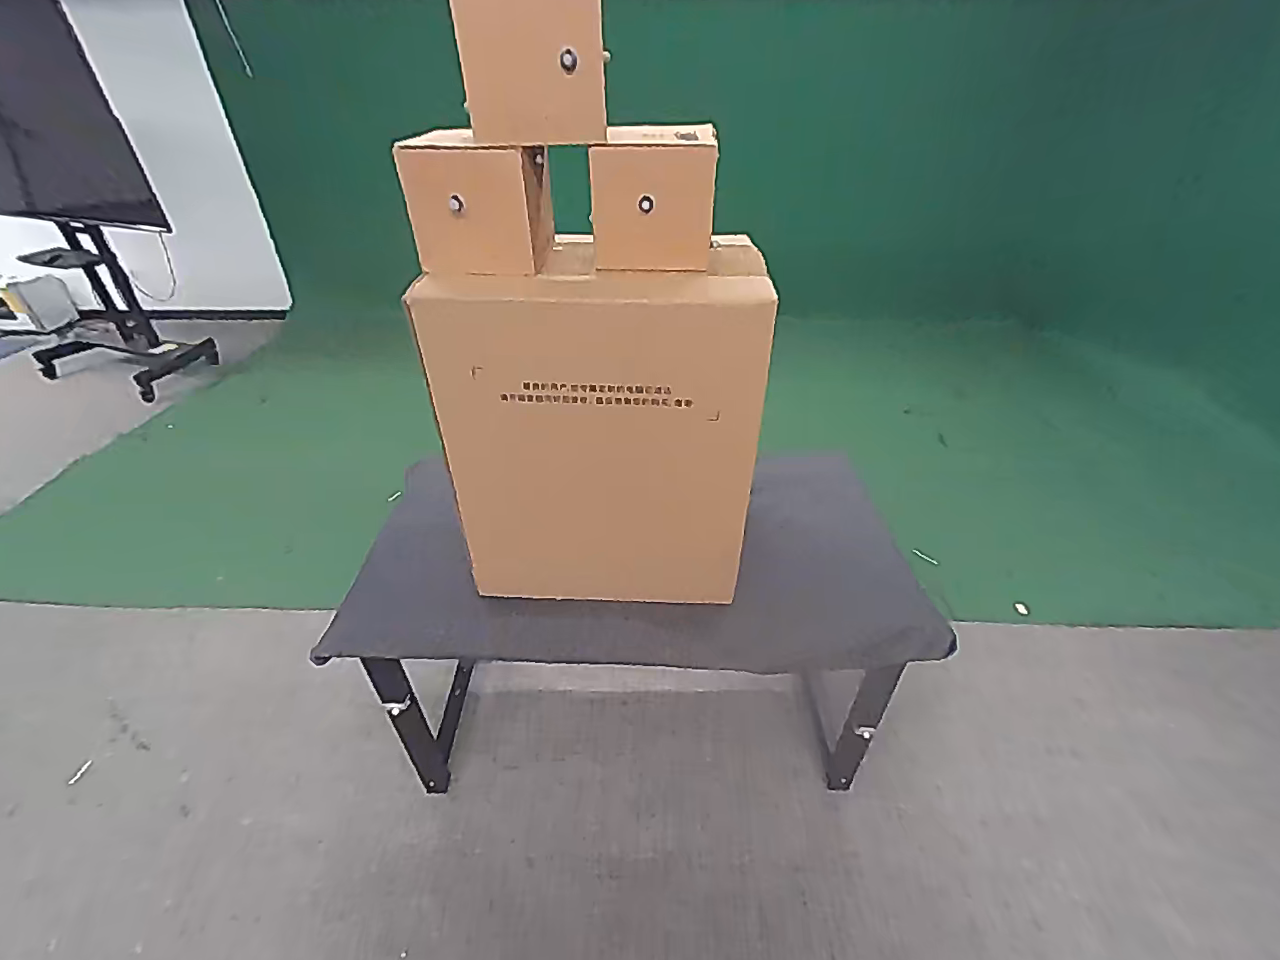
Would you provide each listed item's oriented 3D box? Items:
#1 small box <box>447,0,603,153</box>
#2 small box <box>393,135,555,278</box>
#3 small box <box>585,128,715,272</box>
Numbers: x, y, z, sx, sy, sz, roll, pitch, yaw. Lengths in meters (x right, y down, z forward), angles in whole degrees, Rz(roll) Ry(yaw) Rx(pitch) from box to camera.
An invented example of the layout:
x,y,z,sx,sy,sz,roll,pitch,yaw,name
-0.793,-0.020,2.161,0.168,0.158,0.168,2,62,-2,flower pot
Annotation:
x,y,z,sx,sy,sz,roll,pitch,yaw,name
-0.142,-0.547,0.726,0.179,0.176,0.168,-6,38,-4,small box
-0.239,-0.419,0.828,0.179,0.176,0.168,2,40,3,small box
0.019,-0.429,0.833,0.179,0.176,0.168,1,40,4,small box
